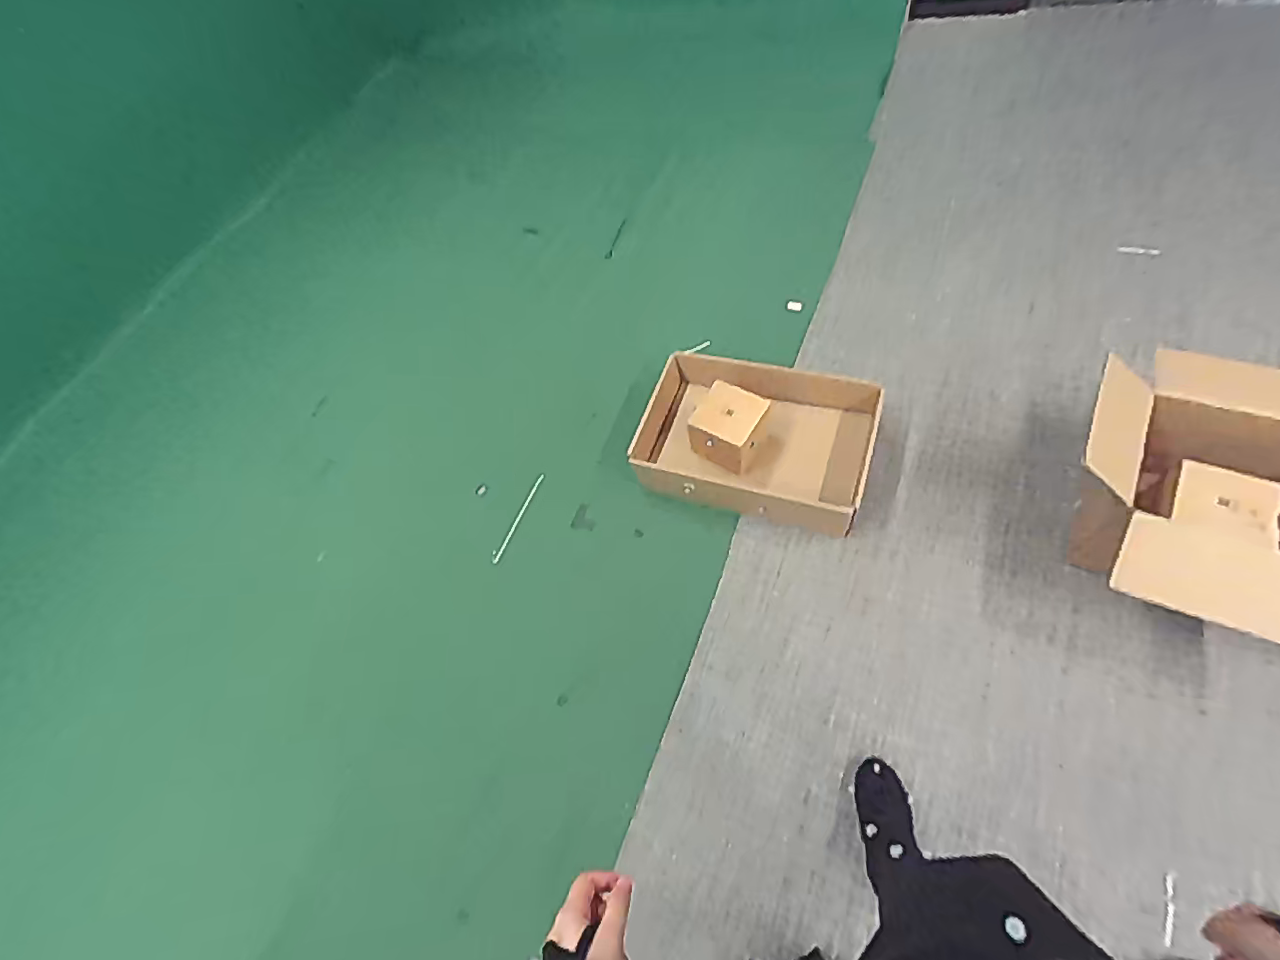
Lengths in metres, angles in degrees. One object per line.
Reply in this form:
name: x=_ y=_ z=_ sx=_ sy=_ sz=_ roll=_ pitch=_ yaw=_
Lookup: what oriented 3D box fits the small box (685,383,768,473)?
small box: x=0.251 y=-0.143 z=1.552 sx=0.179 sy=0.176 sz=0.168 roll=27 pitch=70 yaw=24
